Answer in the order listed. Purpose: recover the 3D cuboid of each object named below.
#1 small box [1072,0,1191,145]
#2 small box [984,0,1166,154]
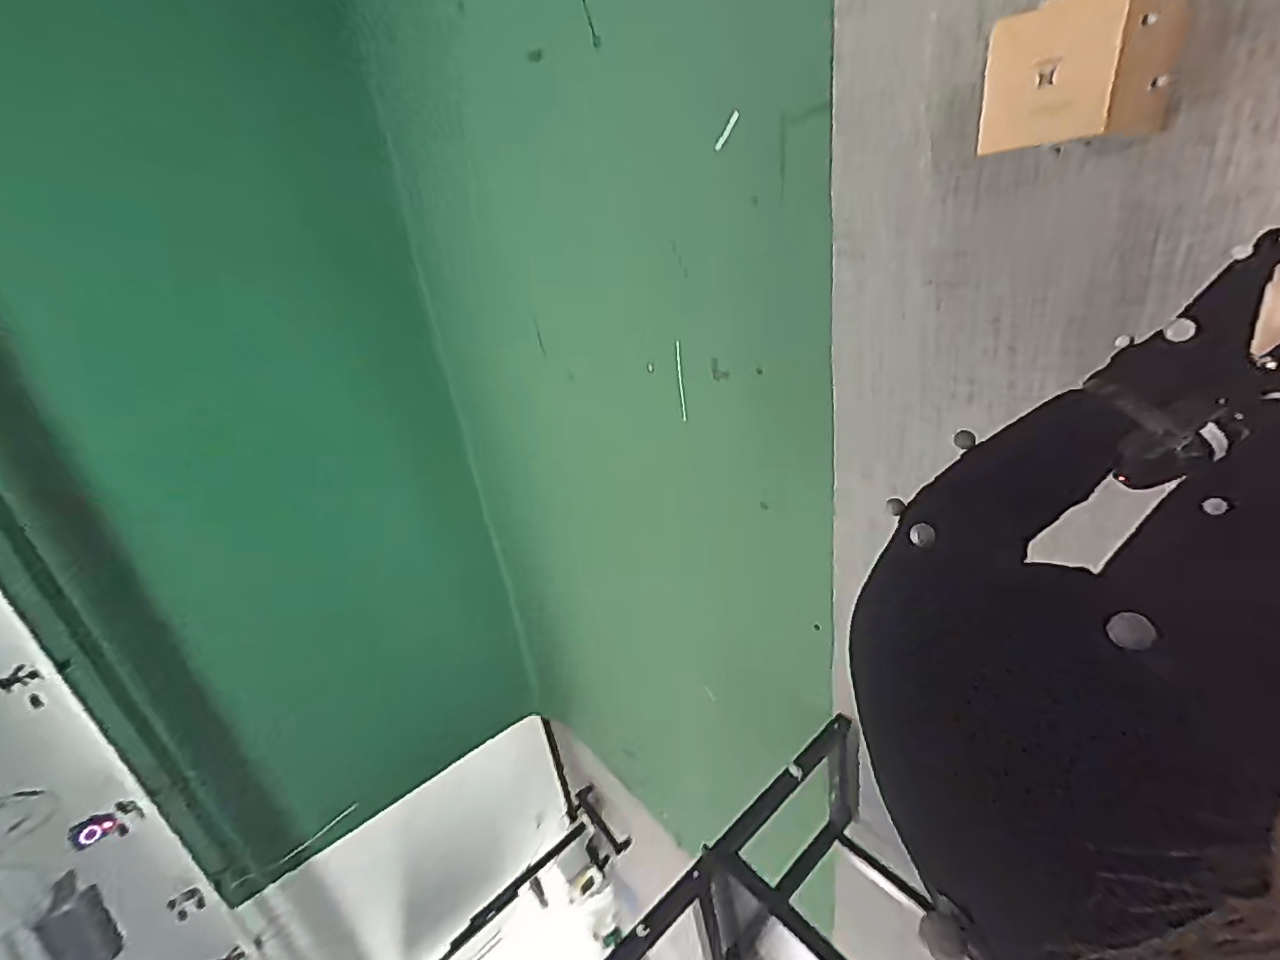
[{"bbox_3d":[0.784,-0.674,0.916,0.168,0.176,0.179,25,130,45],"label":"small box"},{"bbox_3d":[0.661,-0.615,0.827,0.168,0.176,0.179,22,129,48],"label":"small box"}]
